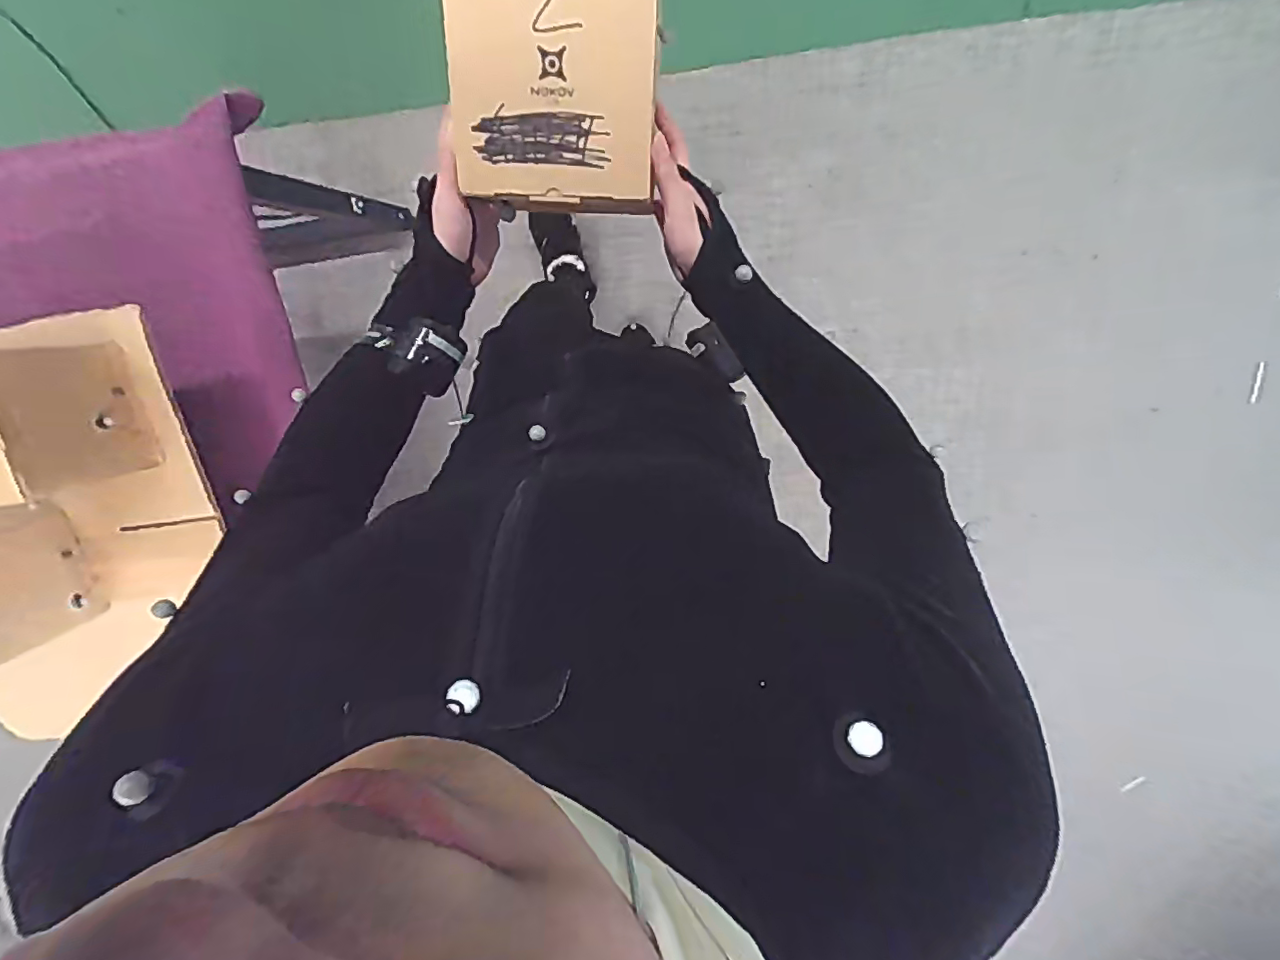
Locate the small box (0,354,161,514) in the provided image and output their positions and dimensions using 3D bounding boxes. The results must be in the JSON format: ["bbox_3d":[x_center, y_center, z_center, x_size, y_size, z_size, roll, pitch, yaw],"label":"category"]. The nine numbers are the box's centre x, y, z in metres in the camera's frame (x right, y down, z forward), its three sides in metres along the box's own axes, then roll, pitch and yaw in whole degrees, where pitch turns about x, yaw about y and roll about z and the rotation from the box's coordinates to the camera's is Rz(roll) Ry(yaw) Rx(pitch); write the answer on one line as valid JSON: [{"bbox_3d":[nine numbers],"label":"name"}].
[{"bbox_3d":[-0.758,-0.057,0.658,0.179,0.176,0.168,-8,106,6],"label":"small box"}]
